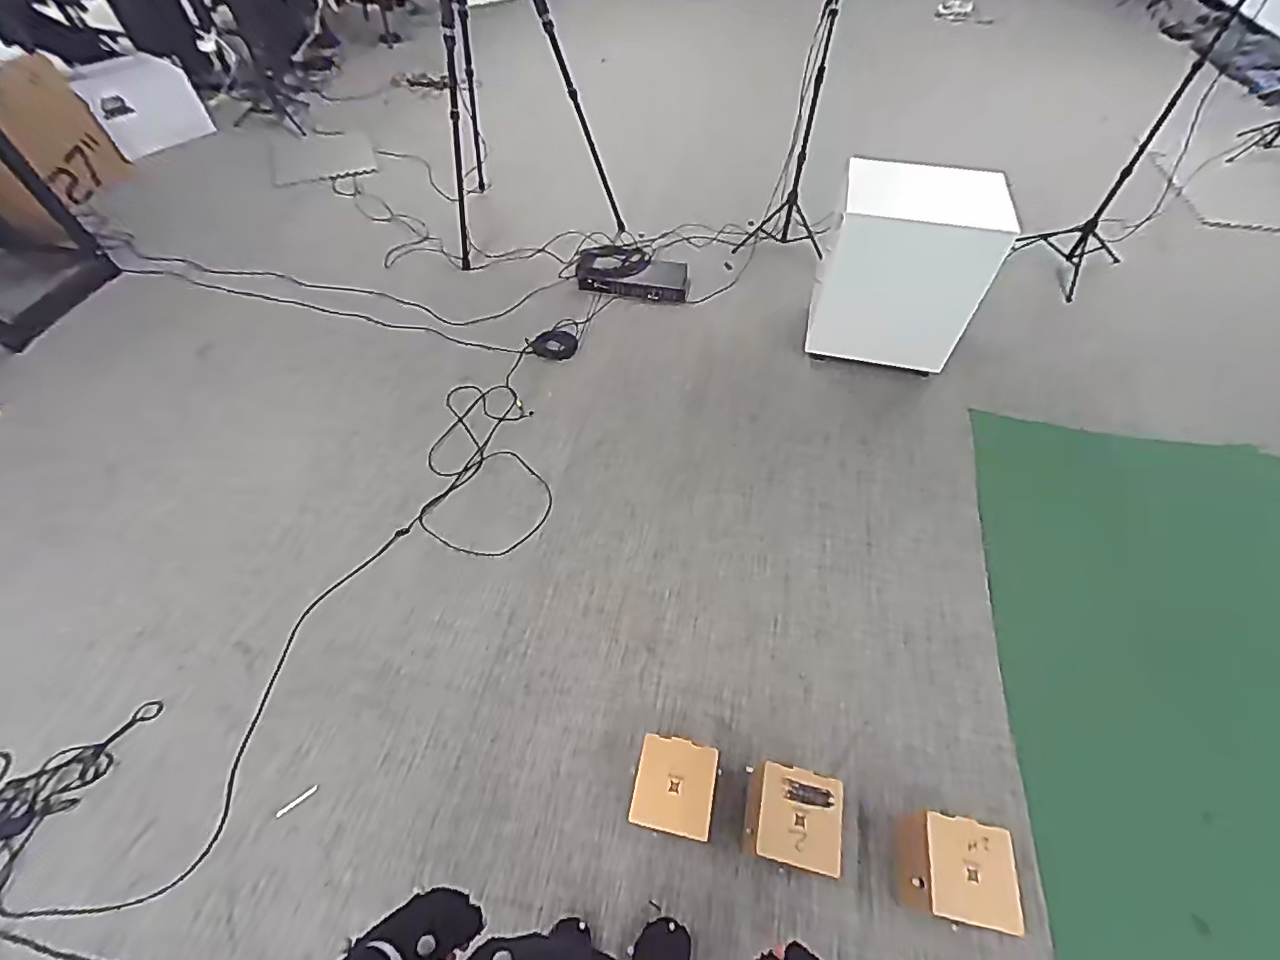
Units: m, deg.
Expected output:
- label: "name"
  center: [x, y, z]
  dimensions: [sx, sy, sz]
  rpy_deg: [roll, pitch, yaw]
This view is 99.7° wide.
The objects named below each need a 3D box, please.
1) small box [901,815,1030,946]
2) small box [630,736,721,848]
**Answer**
- label: "small box"
  center: [0.651, 0.811, 1.105]
  dimensions: [0.168, 0.176, 0.179]
  rpy_deg: [10, 54, 7]
- label: "small box"
  center: [0.080, 0.693, 1.195]
  dimensions: [0.168, 0.176, 0.179]
  rpy_deg: [10, 54, 8]
